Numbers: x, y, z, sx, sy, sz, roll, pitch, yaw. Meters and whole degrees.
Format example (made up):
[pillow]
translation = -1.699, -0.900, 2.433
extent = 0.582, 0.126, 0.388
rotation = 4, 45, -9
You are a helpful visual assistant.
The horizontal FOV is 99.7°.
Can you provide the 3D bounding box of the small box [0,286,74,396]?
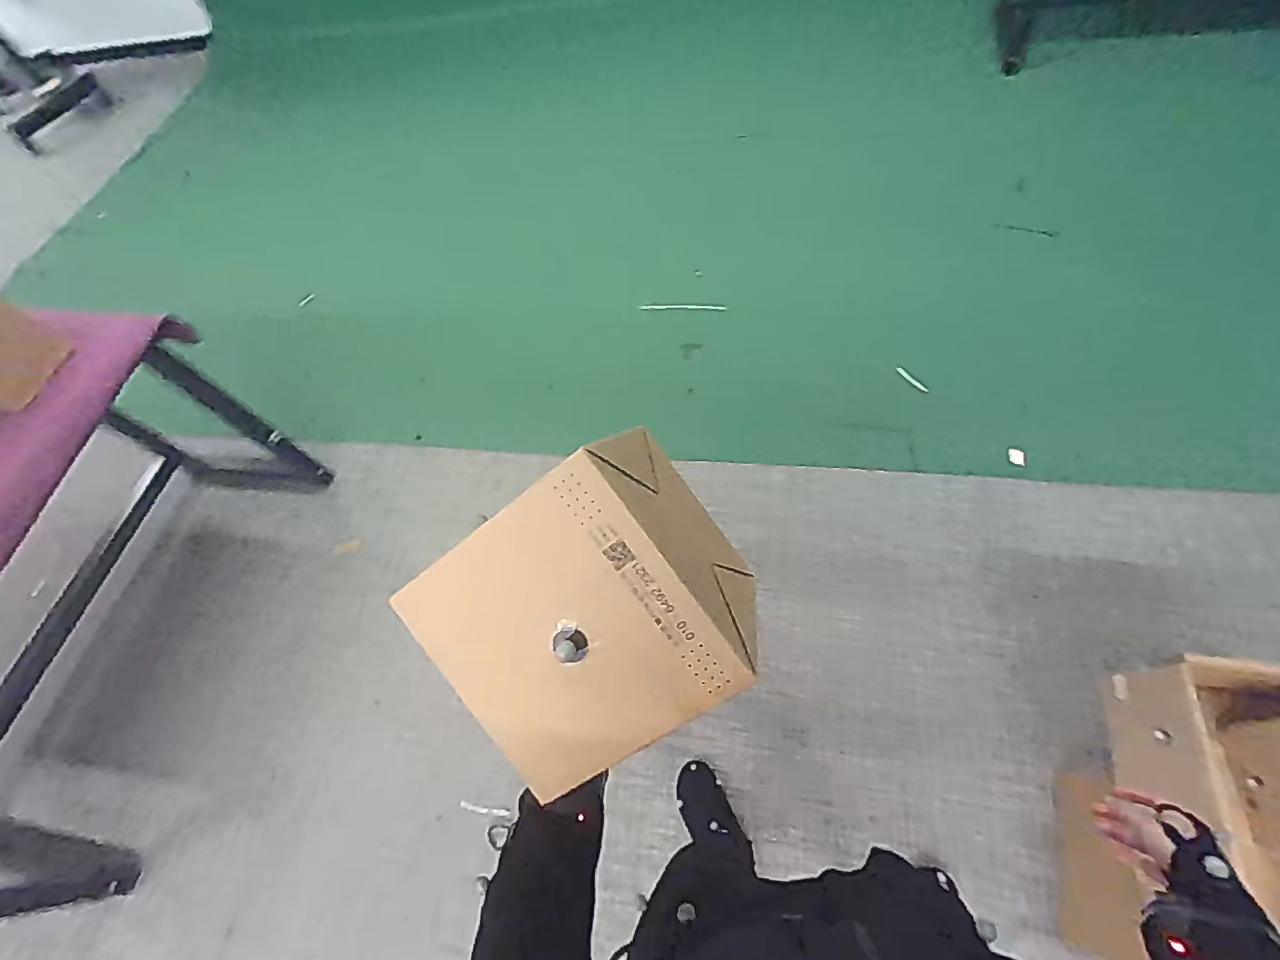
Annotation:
[small box]
translation = -1.329, -0.289, 1.089
extent = 0.168, 0.176, 0.179
rotation = 6, 63, 13
